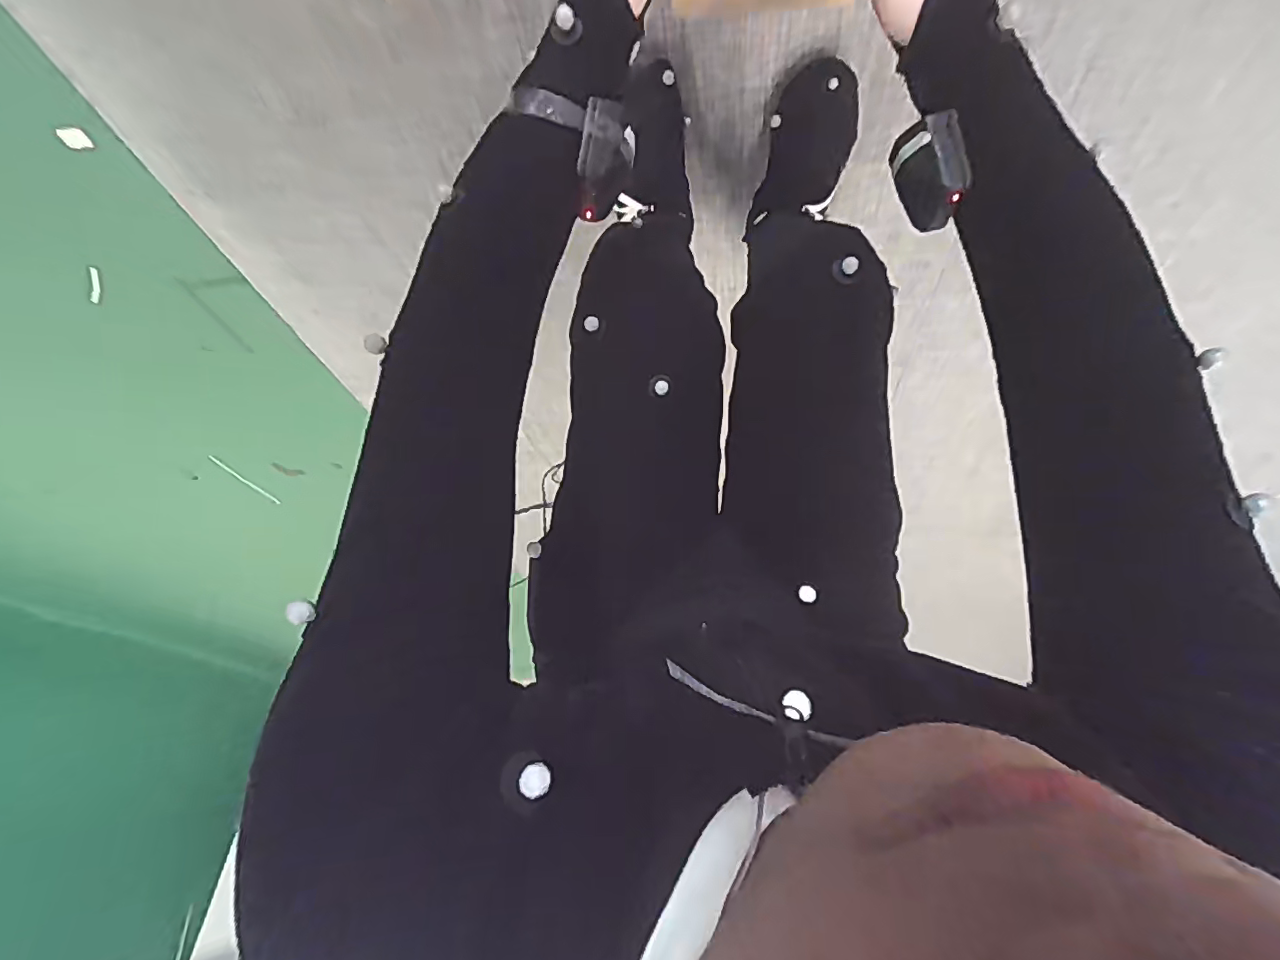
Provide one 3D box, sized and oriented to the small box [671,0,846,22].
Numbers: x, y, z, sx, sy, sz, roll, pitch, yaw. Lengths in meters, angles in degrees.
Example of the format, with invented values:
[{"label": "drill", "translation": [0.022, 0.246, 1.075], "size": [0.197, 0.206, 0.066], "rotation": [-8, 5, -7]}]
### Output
[{"label": "small box", "translation": [0.109, -0.509, 0.432], "size": [0.179, 0.168, 0.176], "rotation": [-1, -168, 3]}]
